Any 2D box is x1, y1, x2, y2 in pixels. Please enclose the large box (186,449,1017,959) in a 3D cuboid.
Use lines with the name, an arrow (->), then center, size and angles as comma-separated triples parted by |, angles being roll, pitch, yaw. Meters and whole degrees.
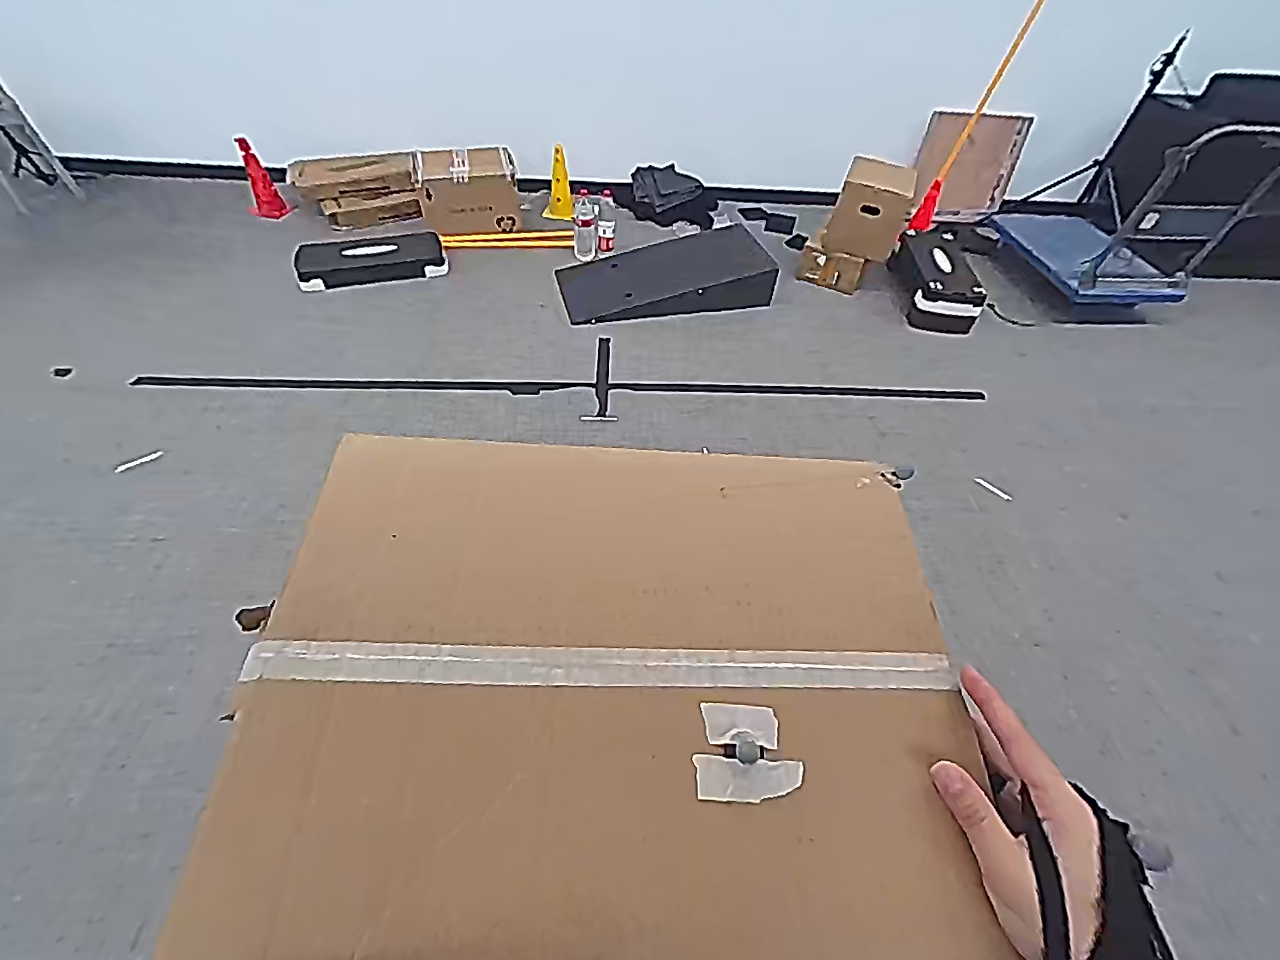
large box -> -0.025, 0.193, 0.454 | 0.408, 0.320, 0.320 | 3, 58, -5
